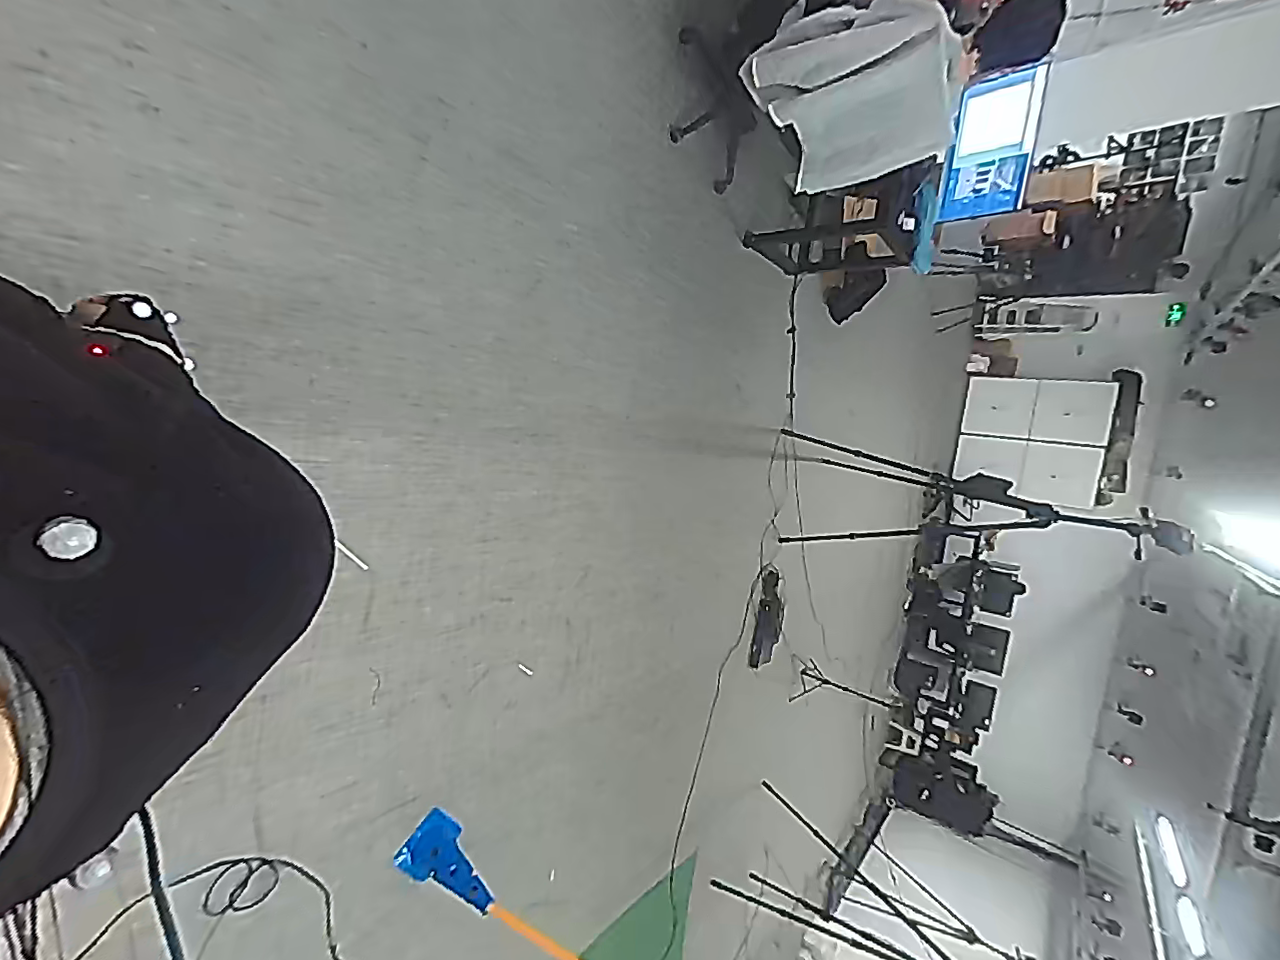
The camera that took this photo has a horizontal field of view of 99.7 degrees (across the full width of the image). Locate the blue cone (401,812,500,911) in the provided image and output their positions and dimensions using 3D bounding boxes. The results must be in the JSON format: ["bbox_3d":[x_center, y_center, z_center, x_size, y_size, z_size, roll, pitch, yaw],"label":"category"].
[{"bbox_3d":[-0.597,1.296,1.788,0.193,0.380,0.192,-52,134,-33],"label":"blue cone"}]
